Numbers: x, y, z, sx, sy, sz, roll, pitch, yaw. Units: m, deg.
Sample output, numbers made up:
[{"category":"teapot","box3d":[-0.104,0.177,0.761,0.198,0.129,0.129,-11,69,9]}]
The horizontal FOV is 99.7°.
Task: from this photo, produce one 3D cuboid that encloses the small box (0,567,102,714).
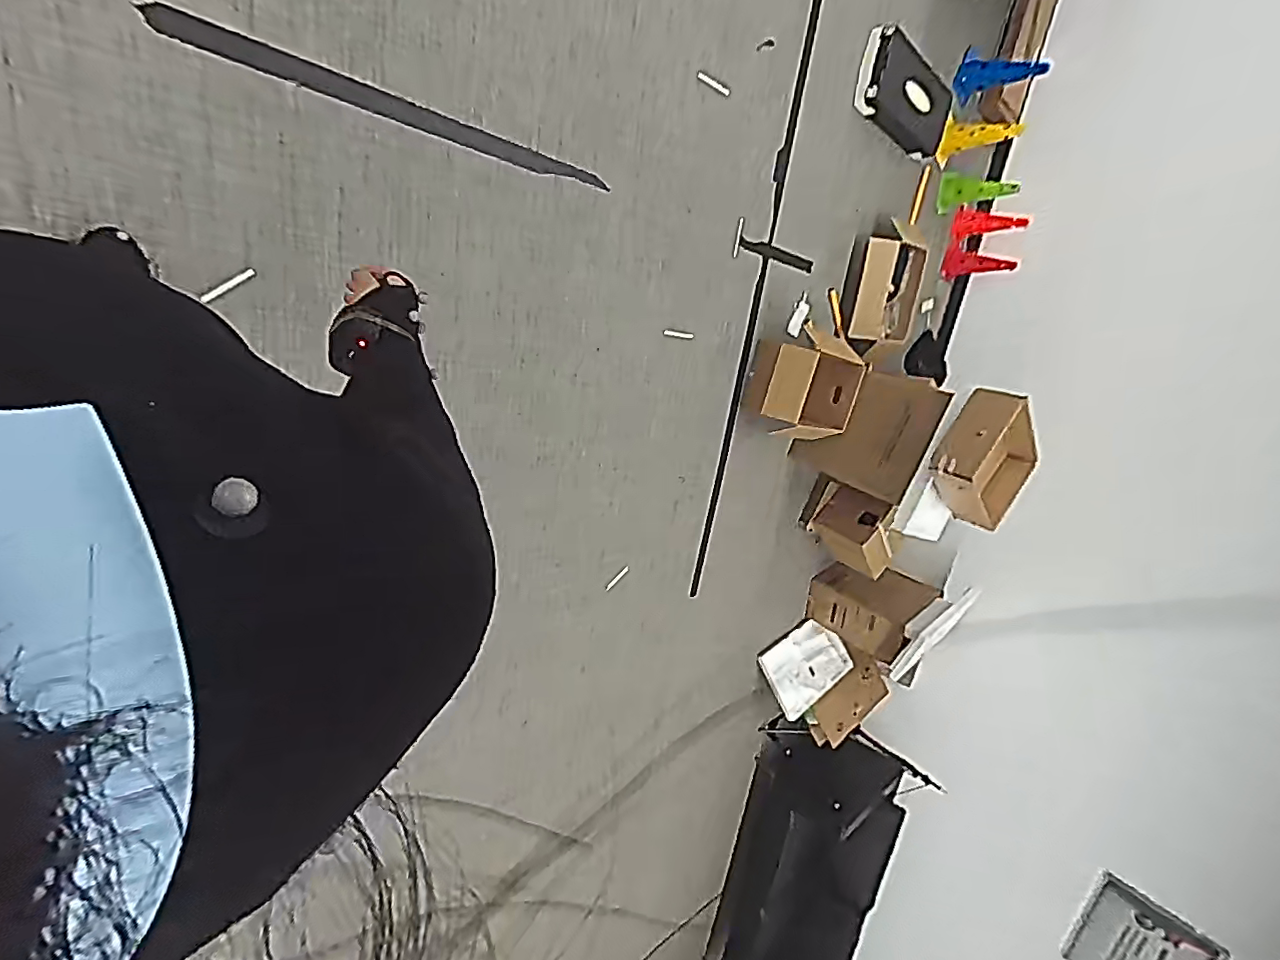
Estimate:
[{"category":"small box","box3d":[-1.062,0.275,0.941,0.168,0.176,0.179,-5,111,-42]}]
